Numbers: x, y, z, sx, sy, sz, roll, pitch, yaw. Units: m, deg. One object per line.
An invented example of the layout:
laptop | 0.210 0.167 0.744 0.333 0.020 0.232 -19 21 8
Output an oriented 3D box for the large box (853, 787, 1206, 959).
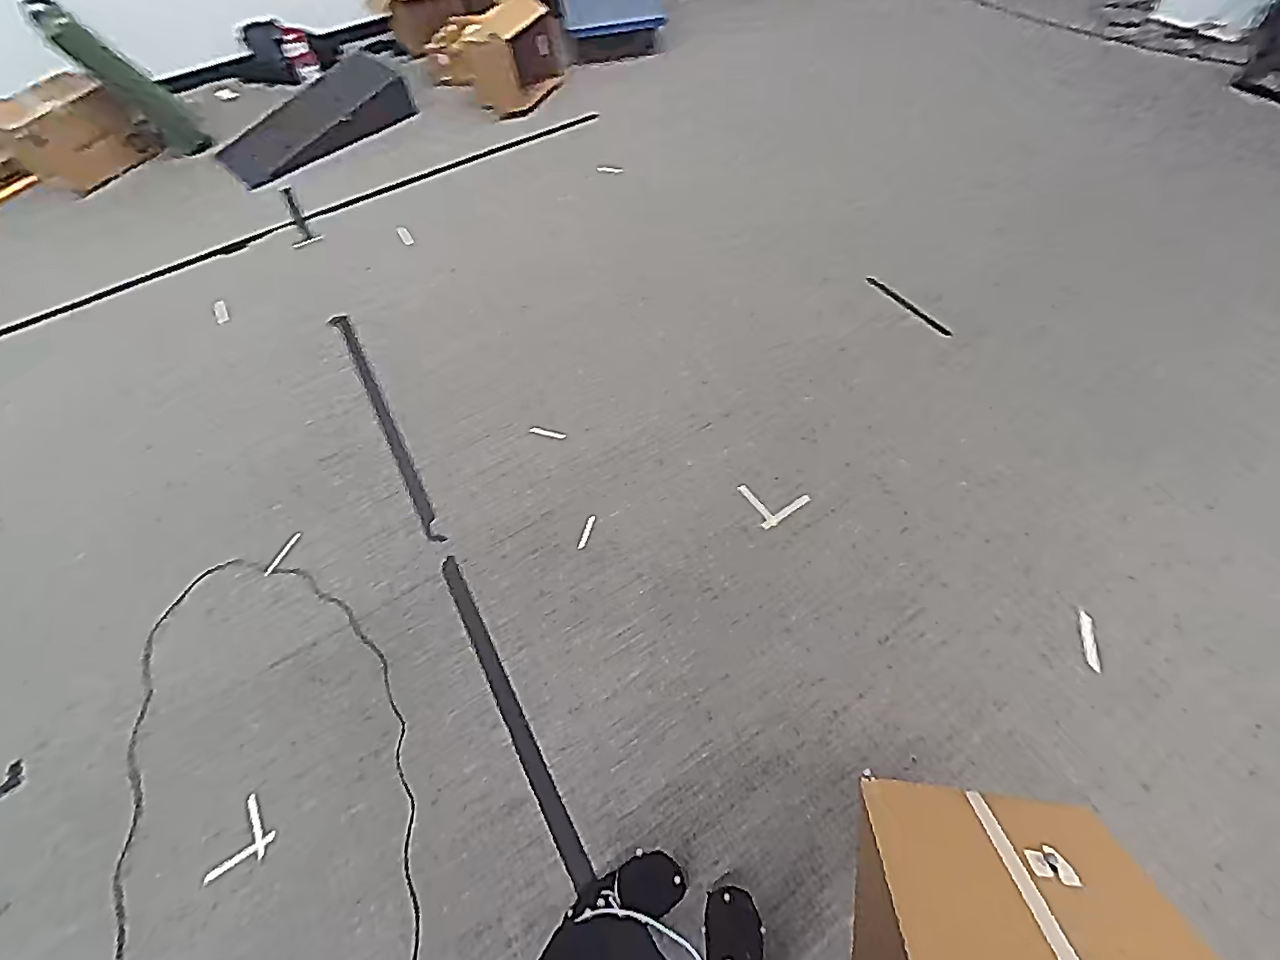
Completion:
large box | 0.451 0.647 0.636 0.320 0.408 0.320 2 95 11
